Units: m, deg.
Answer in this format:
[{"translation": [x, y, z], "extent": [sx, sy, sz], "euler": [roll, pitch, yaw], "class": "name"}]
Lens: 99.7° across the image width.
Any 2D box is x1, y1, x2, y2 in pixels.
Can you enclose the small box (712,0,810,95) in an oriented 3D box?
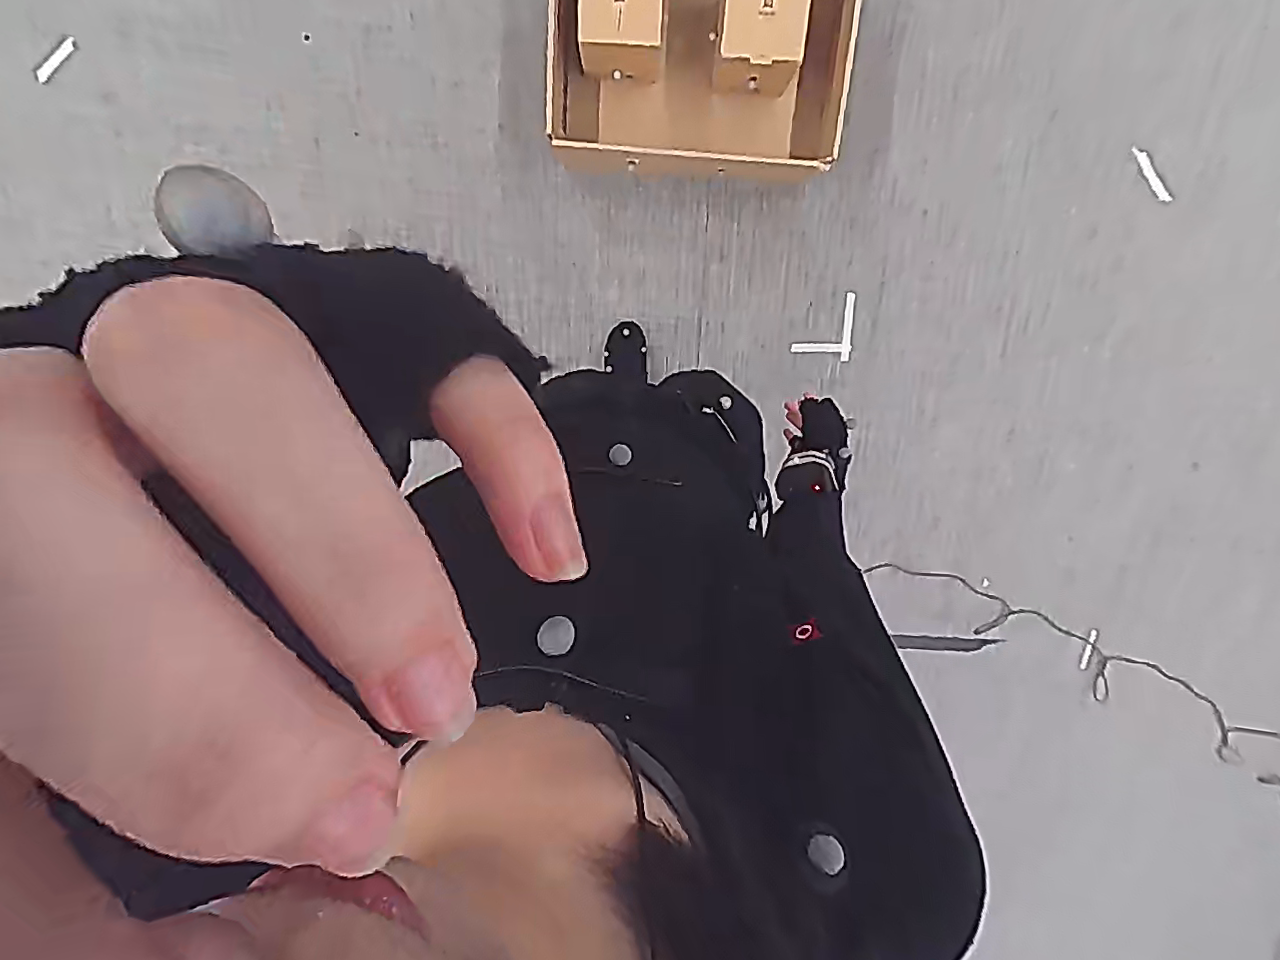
[{"translation": [0.246, -0.933, 1.123], "extent": [0.168, 0.176, 0.179], "euler": [4, 107, -1], "class": "small box"}]
